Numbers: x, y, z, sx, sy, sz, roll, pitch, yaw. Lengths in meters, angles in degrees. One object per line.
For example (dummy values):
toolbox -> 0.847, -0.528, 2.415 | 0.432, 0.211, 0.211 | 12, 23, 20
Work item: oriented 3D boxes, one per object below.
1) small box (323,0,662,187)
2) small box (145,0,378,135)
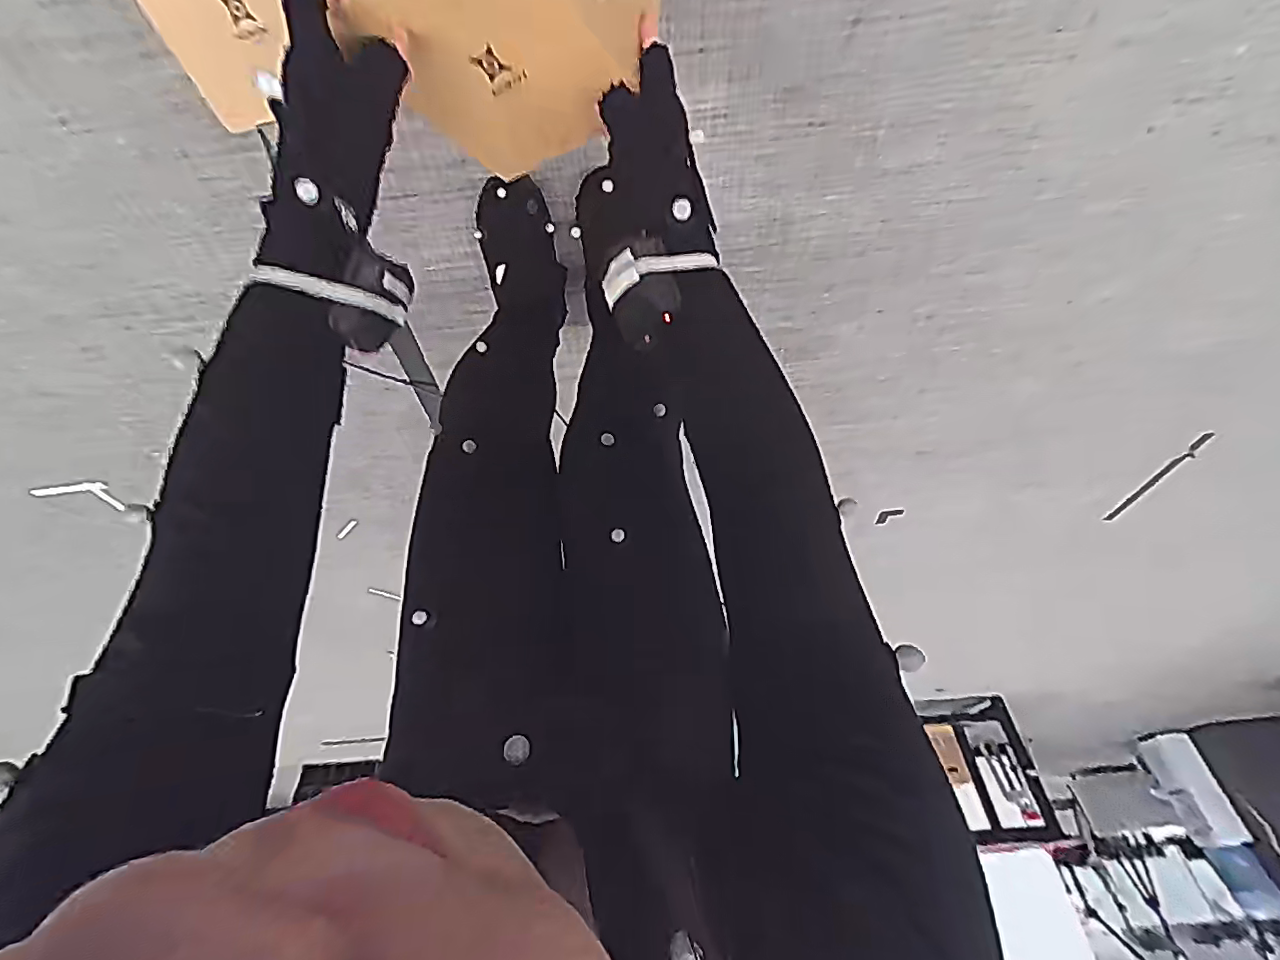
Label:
small box -> -0.097, -0.367, 0.398 | 0.168, 0.176, 0.179 | -2, 171, 35
small box -> -0.370, -0.495, 0.555 | 0.168, 0.176, 0.179 | -9, 142, 4
